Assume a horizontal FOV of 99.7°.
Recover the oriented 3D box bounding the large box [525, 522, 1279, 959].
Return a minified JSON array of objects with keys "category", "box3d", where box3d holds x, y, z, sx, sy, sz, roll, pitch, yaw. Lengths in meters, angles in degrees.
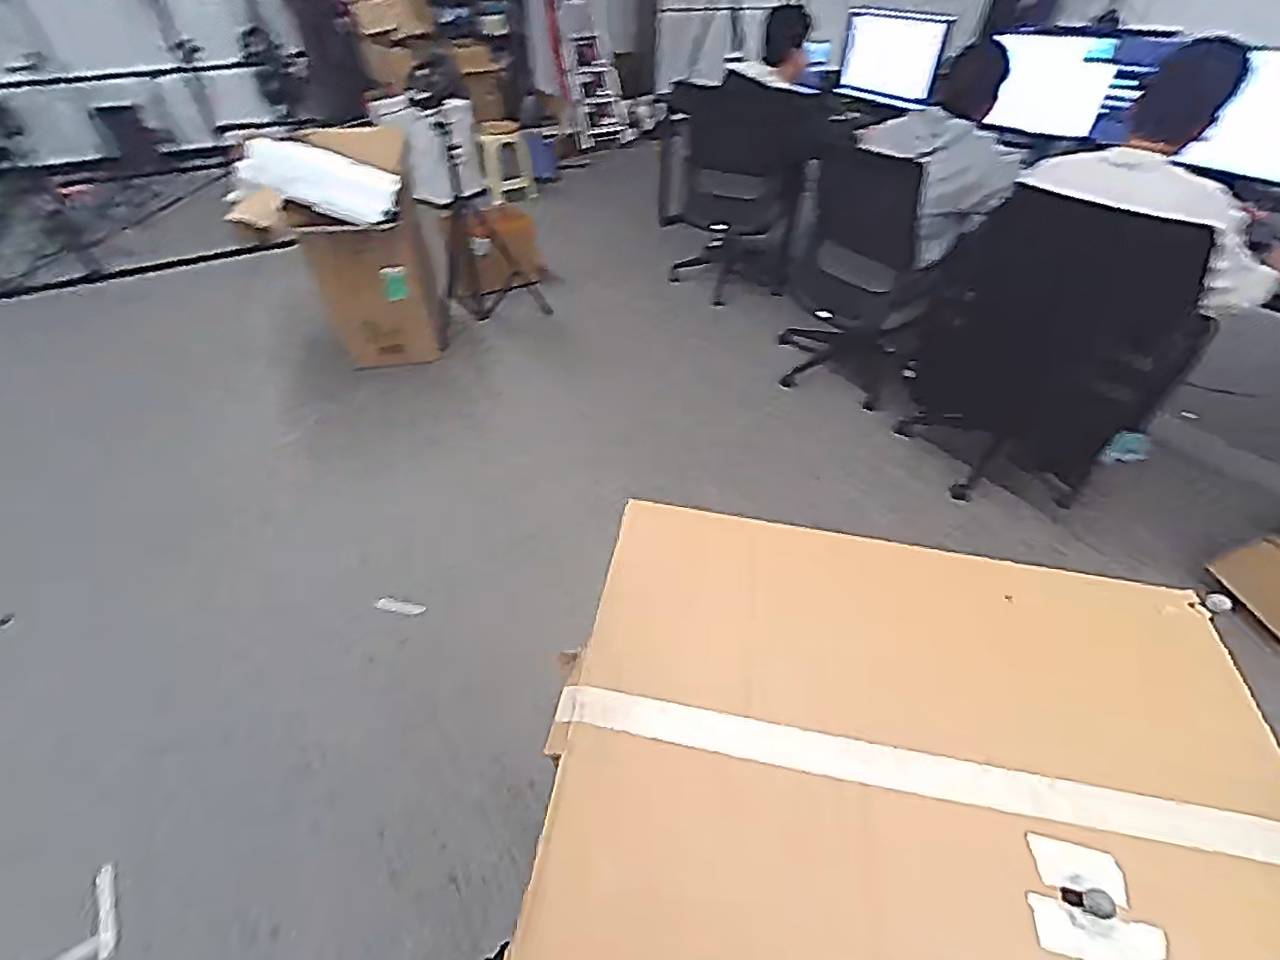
[{"category":"large box","box3d":[0.150,0.268,0.425,0.408,0.320,0.320,9,51,4]}]
